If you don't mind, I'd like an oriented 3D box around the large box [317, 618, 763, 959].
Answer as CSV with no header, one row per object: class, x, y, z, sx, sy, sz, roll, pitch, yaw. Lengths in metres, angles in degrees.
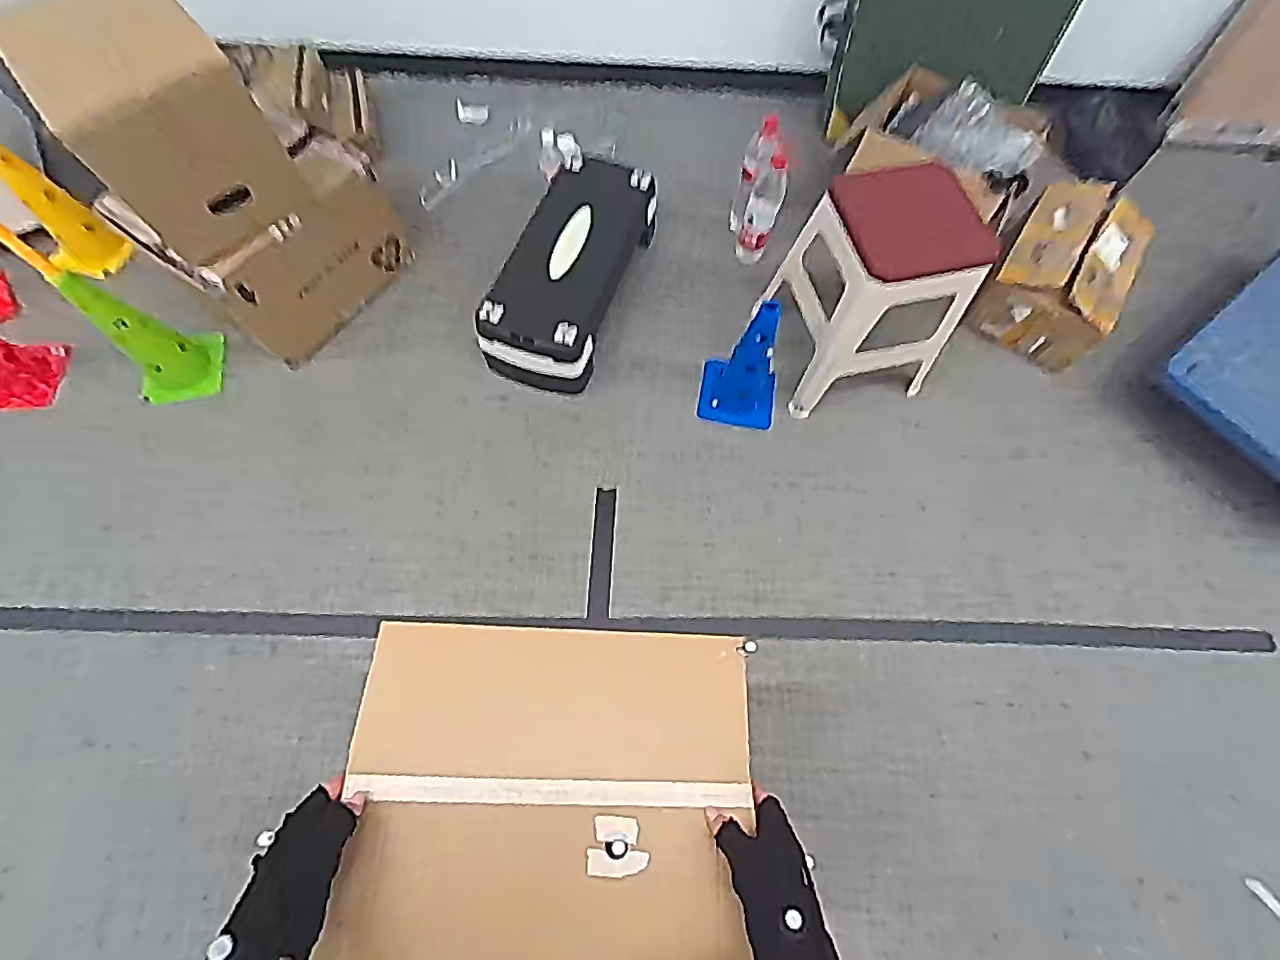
large box,-0.096,0.363,0.674,0.408,0.320,0.320,4,66,-4
